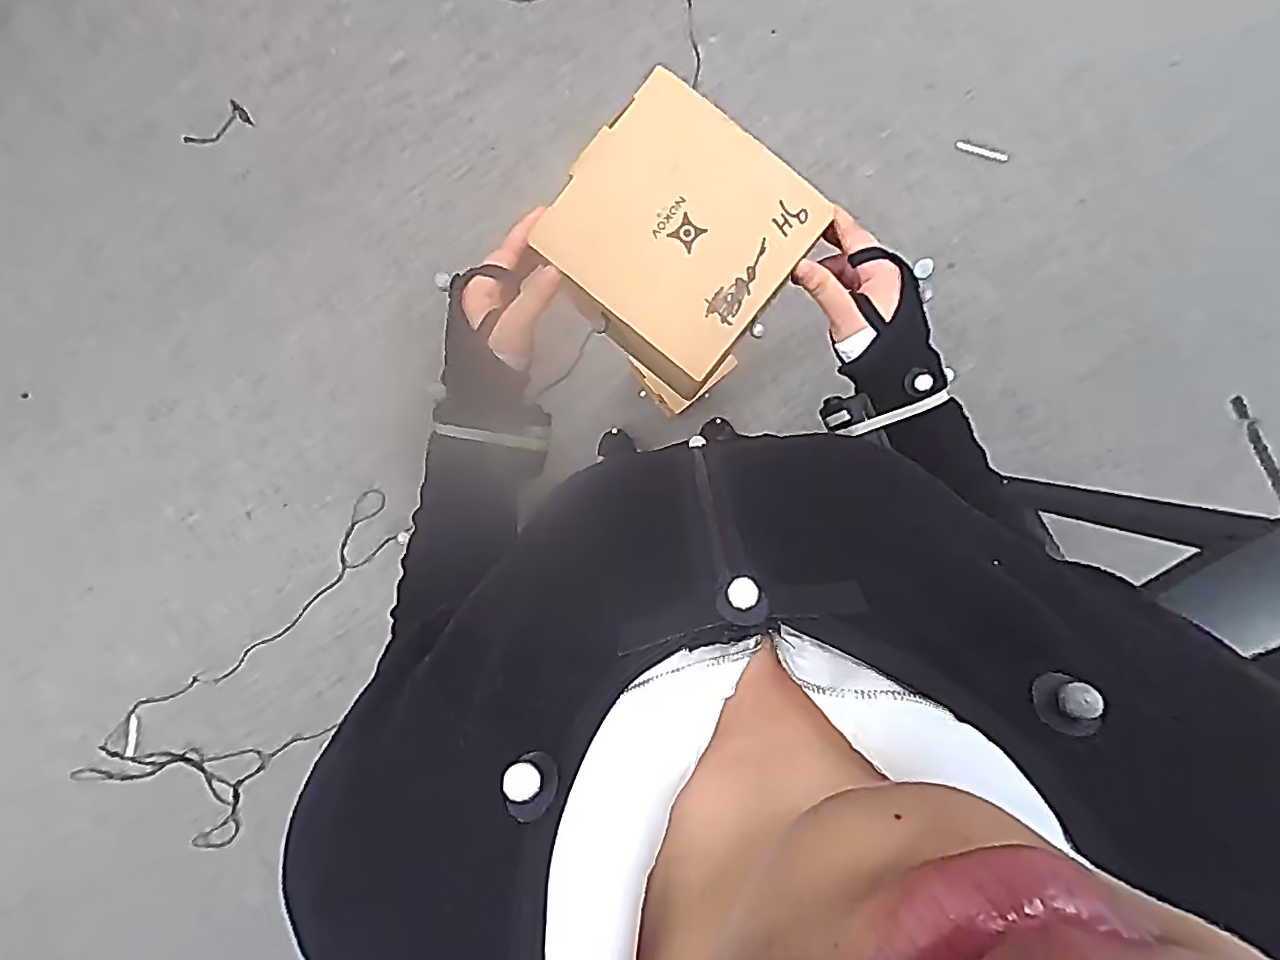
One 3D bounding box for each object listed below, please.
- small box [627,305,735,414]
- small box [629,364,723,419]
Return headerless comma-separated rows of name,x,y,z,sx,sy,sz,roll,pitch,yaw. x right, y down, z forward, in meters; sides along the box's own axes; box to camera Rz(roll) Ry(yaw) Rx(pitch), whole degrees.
small box,0.089,-0.263,1.228,0.179,0.176,0.168,-40,95,3
small box,0.087,-0.274,1.390,0.179,0.176,0.168,-37,94,5
